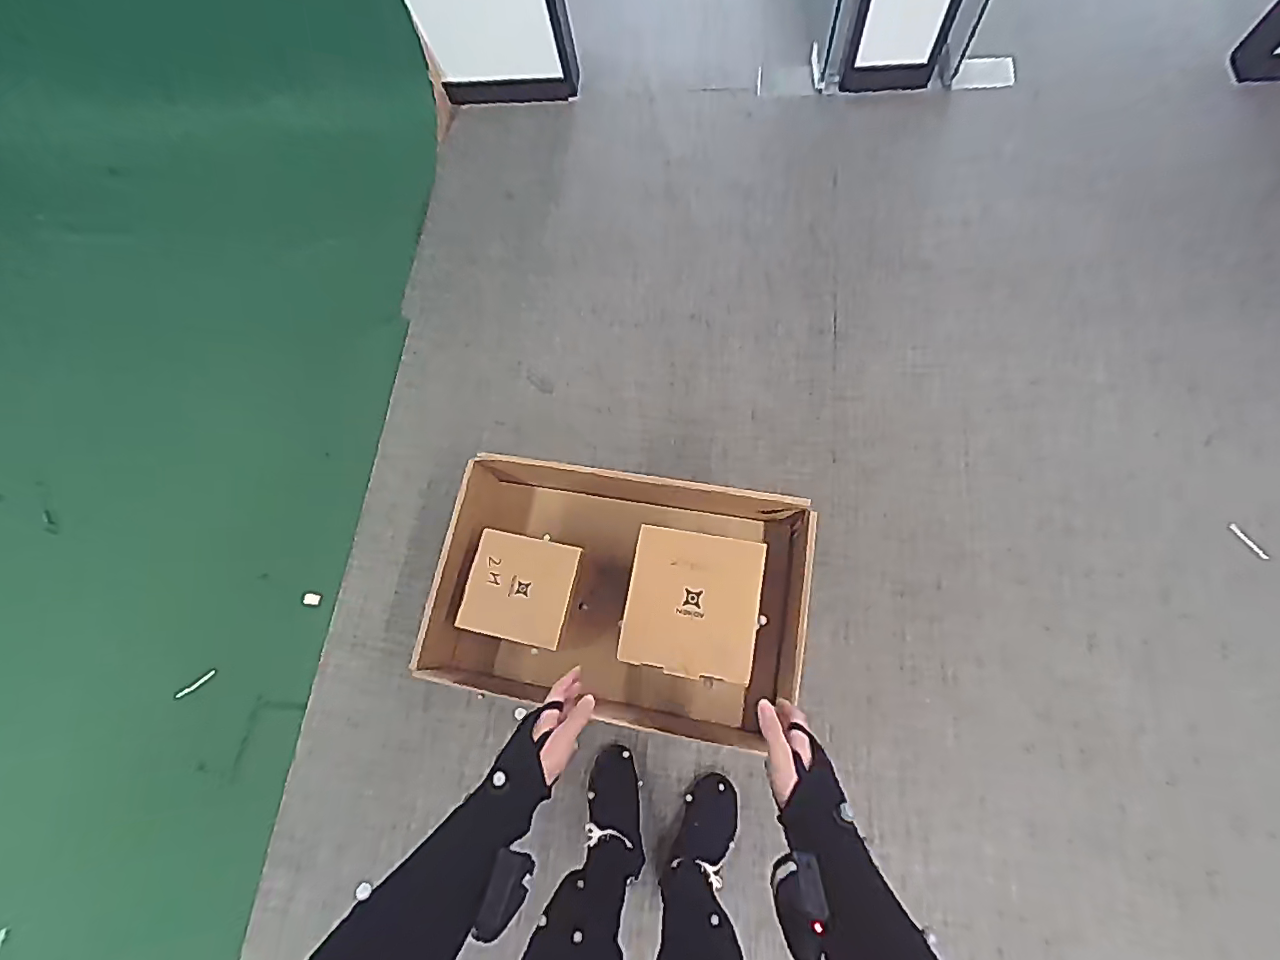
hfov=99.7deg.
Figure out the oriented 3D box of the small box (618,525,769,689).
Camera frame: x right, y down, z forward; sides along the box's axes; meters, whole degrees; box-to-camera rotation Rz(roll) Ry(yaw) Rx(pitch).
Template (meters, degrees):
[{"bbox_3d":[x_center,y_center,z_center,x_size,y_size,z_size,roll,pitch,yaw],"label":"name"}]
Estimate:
[{"bbox_3d":[0.076,0.175,0.748,0.168,0.176,0.179,9,74,9],"label":"small box"}]
